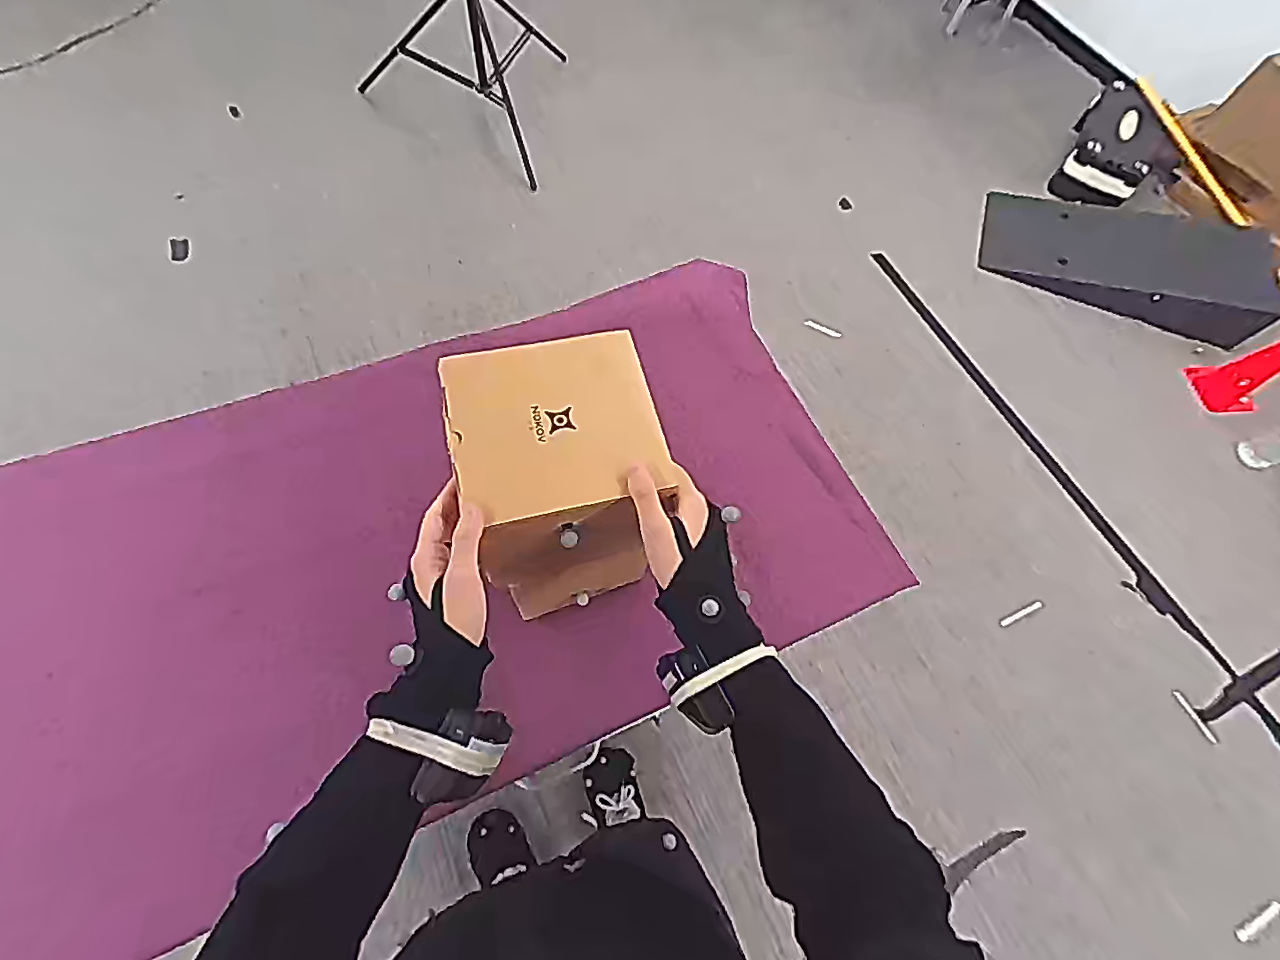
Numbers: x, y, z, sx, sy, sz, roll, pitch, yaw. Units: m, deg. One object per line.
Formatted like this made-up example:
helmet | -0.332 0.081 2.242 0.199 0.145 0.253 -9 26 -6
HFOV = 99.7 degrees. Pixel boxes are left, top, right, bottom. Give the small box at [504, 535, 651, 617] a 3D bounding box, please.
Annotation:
small box | -0.100 0.051 0.679 0.168 0.176 0.179 -18 68 -13

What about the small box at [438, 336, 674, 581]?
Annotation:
small box | -0.082 -0.013 0.531 0.179 0.176 0.168 -12 68 -10
